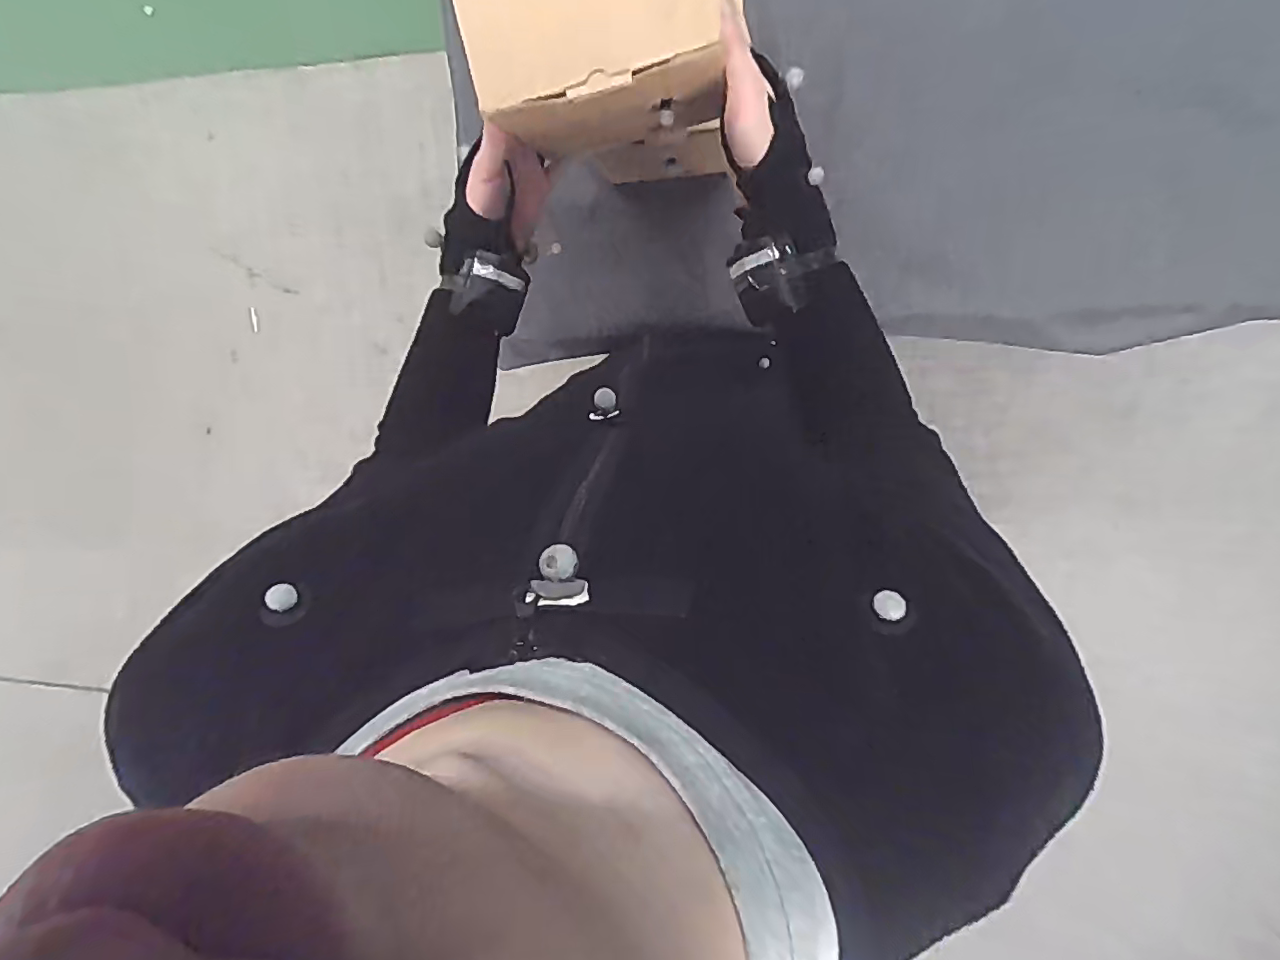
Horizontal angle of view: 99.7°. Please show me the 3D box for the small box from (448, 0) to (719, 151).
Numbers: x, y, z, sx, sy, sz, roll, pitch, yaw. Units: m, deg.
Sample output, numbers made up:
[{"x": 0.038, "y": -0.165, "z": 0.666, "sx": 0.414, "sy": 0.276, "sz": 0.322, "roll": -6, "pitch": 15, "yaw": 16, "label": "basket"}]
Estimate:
[{"x": -0.035, "y": -0.360, "z": 0.392, "sx": 0.168, "sy": 0.176, "sz": 0.179, "roll": -9, "pitch": 110, "yaw": 11, "label": "small box"}]

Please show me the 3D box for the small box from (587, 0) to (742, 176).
[{"x": 0.025, "y": -0.456, "z": 0.605, "sx": 0.168, "sy": 0.176, "sz": 0.179, "roll": -3, "pitch": 107, "yaw": 6, "label": "small box"}]
